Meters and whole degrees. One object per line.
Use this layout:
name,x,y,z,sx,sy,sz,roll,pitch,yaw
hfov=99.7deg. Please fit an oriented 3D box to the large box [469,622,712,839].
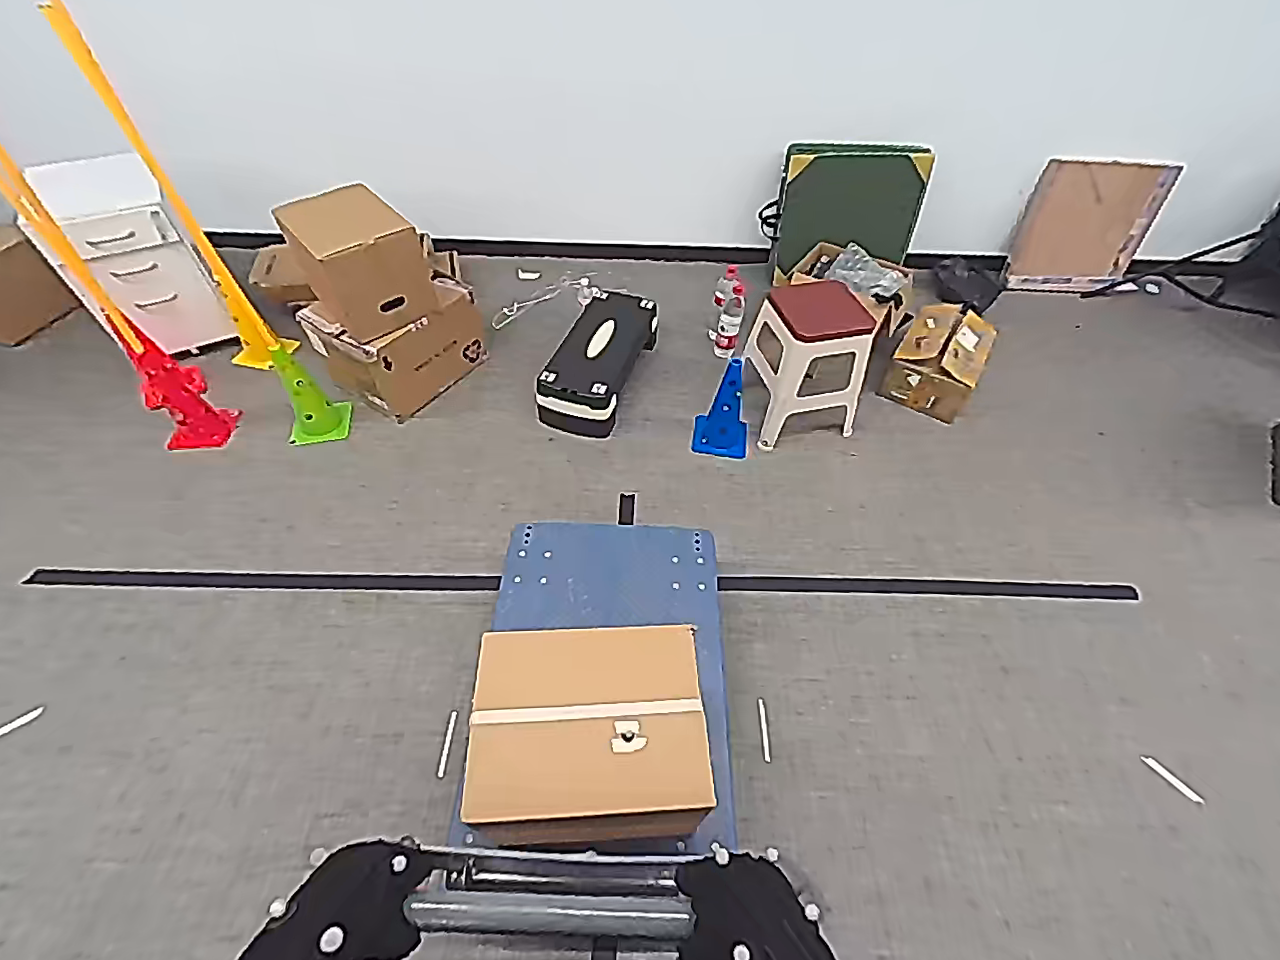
large box,-0.098,0.502,1.082,0.408,0.320,0.320,-1,51,-5
